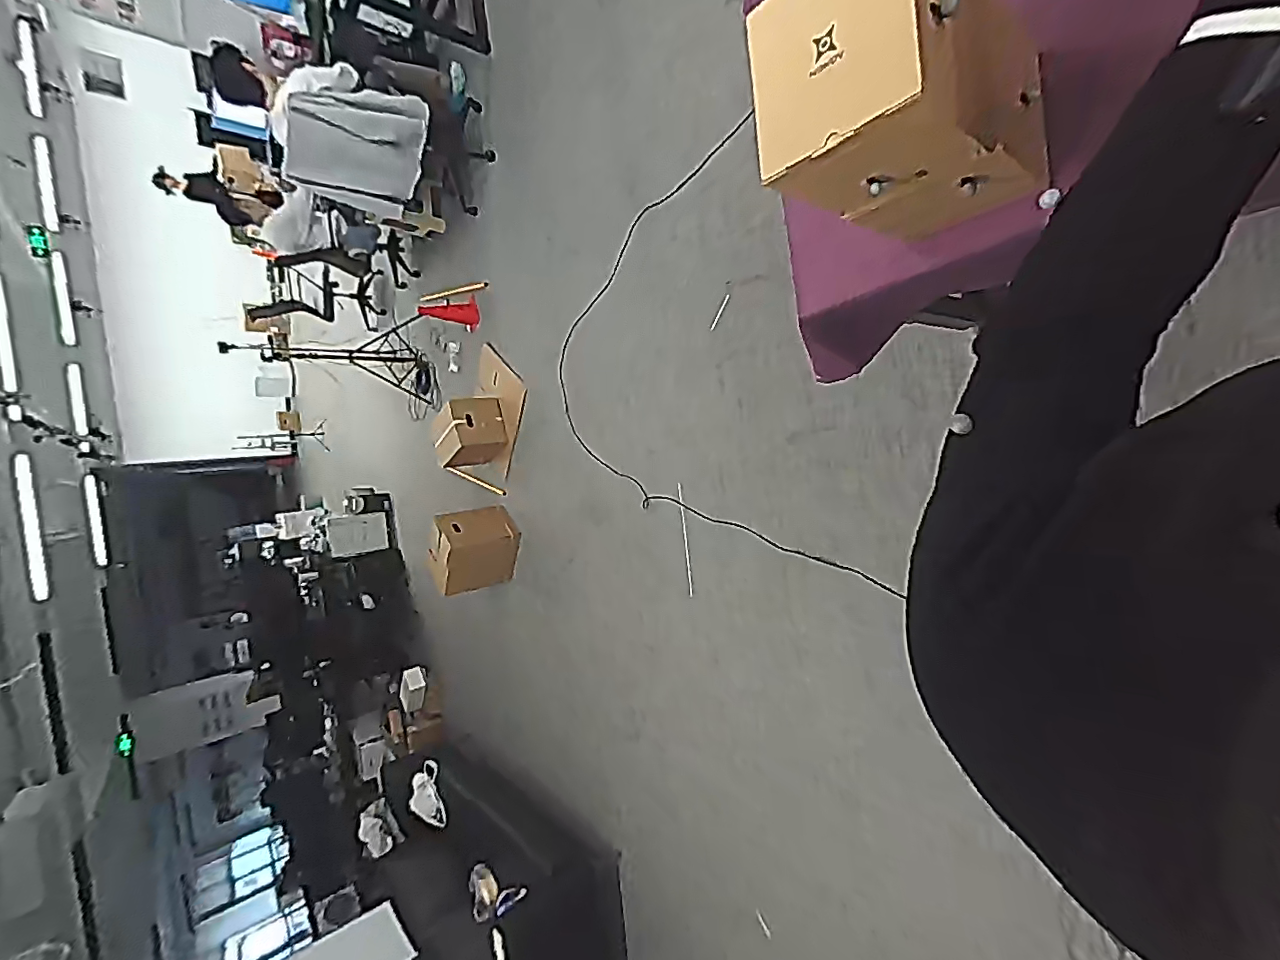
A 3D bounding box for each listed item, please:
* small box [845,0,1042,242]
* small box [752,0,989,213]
[{"bbox_3d":[0.369,-0.417,0.664,0.179,0.176,0.168,-4,92,51],"label":"small box"},{"bbox_3d":[0.240,-0.410,0.564,0.168,0.176,0.179,-3,94,51],"label":"small box"}]
